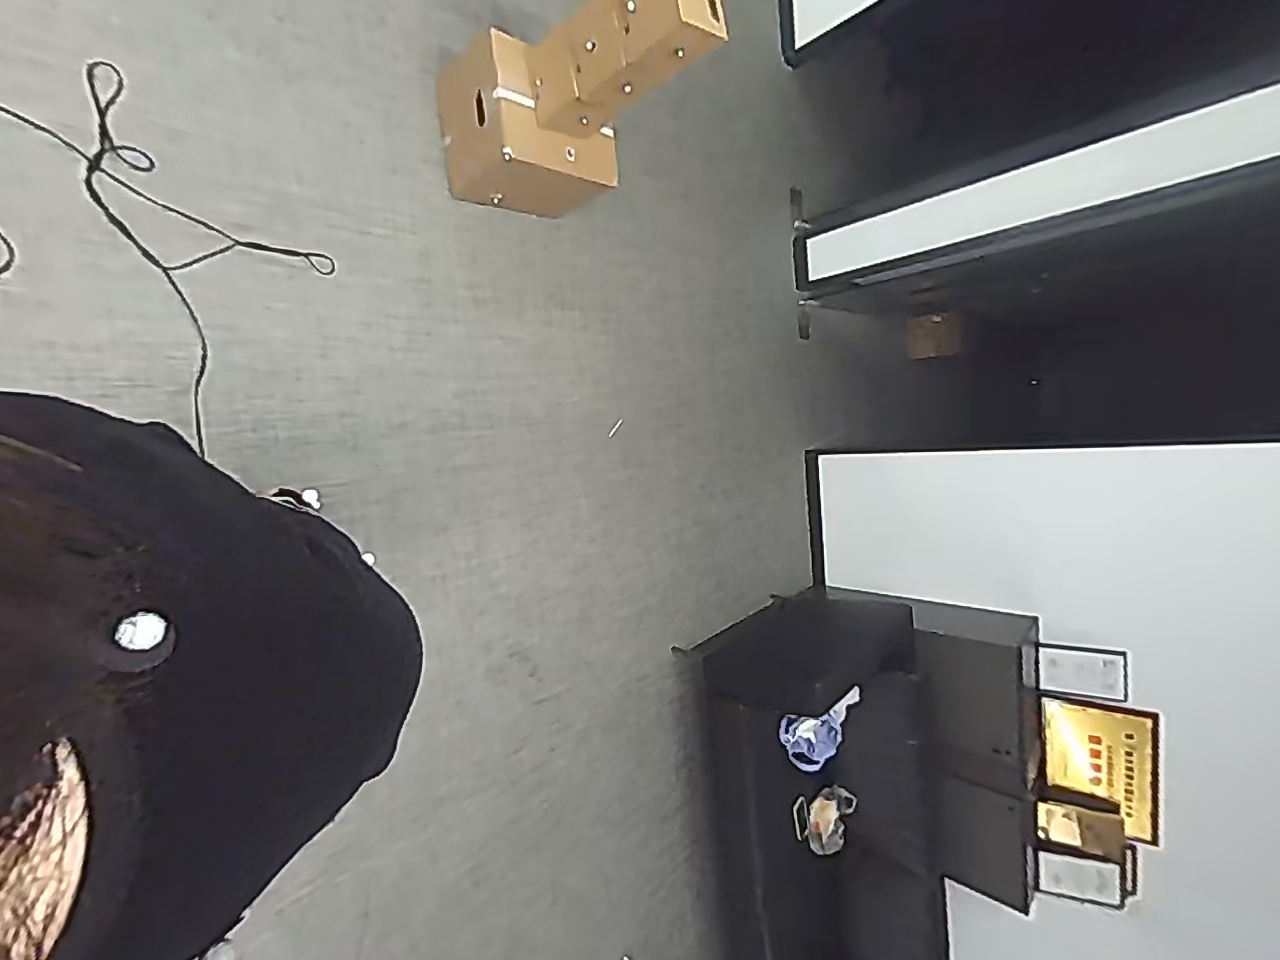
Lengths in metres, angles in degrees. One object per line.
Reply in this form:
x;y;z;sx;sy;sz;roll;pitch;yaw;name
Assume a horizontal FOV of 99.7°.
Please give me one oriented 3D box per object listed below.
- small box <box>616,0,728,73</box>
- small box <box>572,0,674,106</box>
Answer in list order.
0.069;-1.058;1.214;0.179;0.176;0.168;-25;107;-42;small box
-0.049;-1.056;1.330;0.179;0.176;0.168;-24;106;-41;small box
